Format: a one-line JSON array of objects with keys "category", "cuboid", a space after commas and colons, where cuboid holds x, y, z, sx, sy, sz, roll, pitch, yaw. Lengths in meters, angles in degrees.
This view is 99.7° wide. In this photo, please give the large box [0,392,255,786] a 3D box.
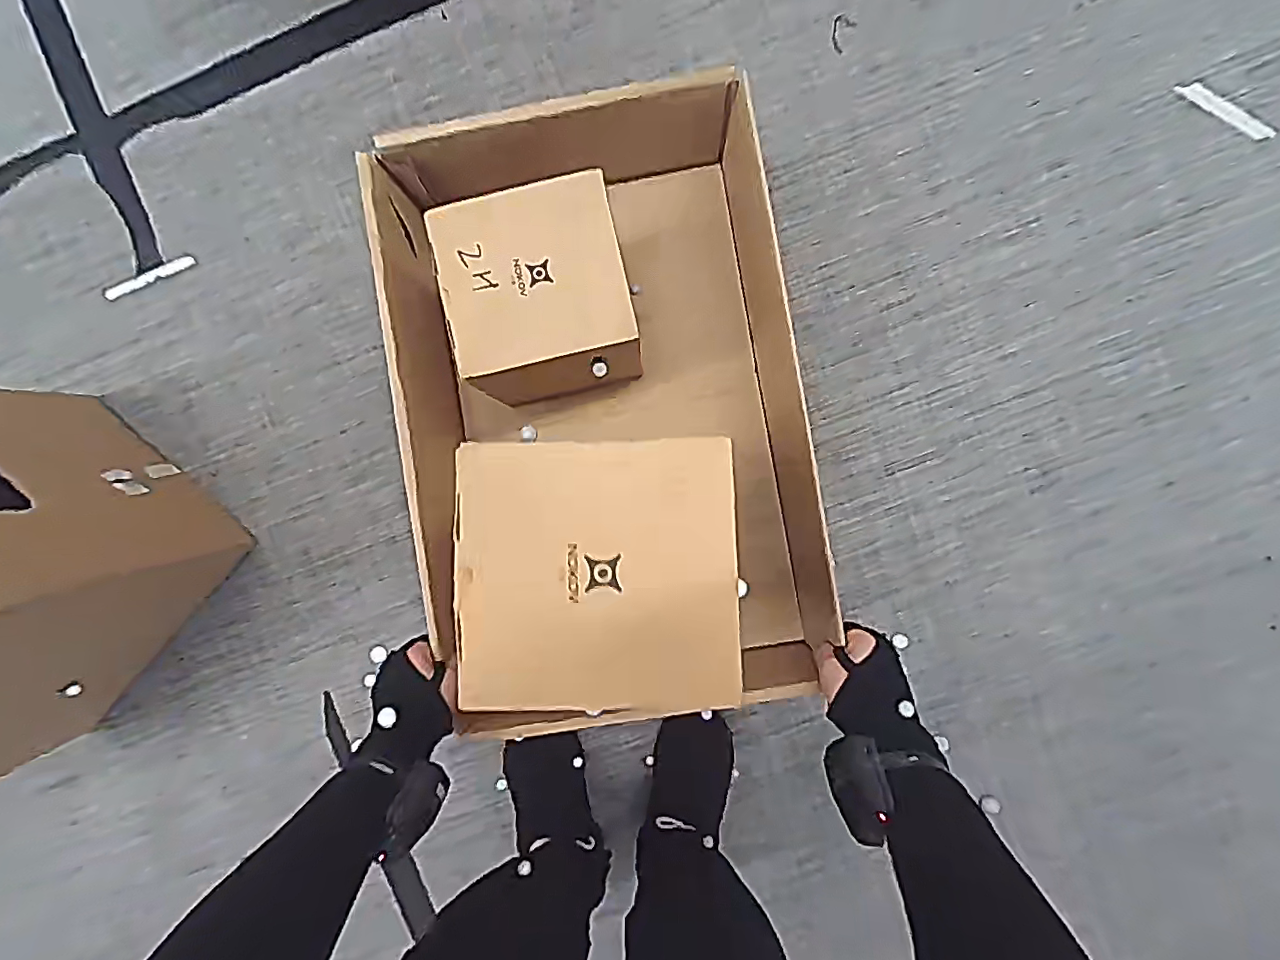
[{"category": "large box", "cuboid": [-0.783, 0.141, 0.632, 0.320, 0.320, 0.408, 42, 96, -1]}]
